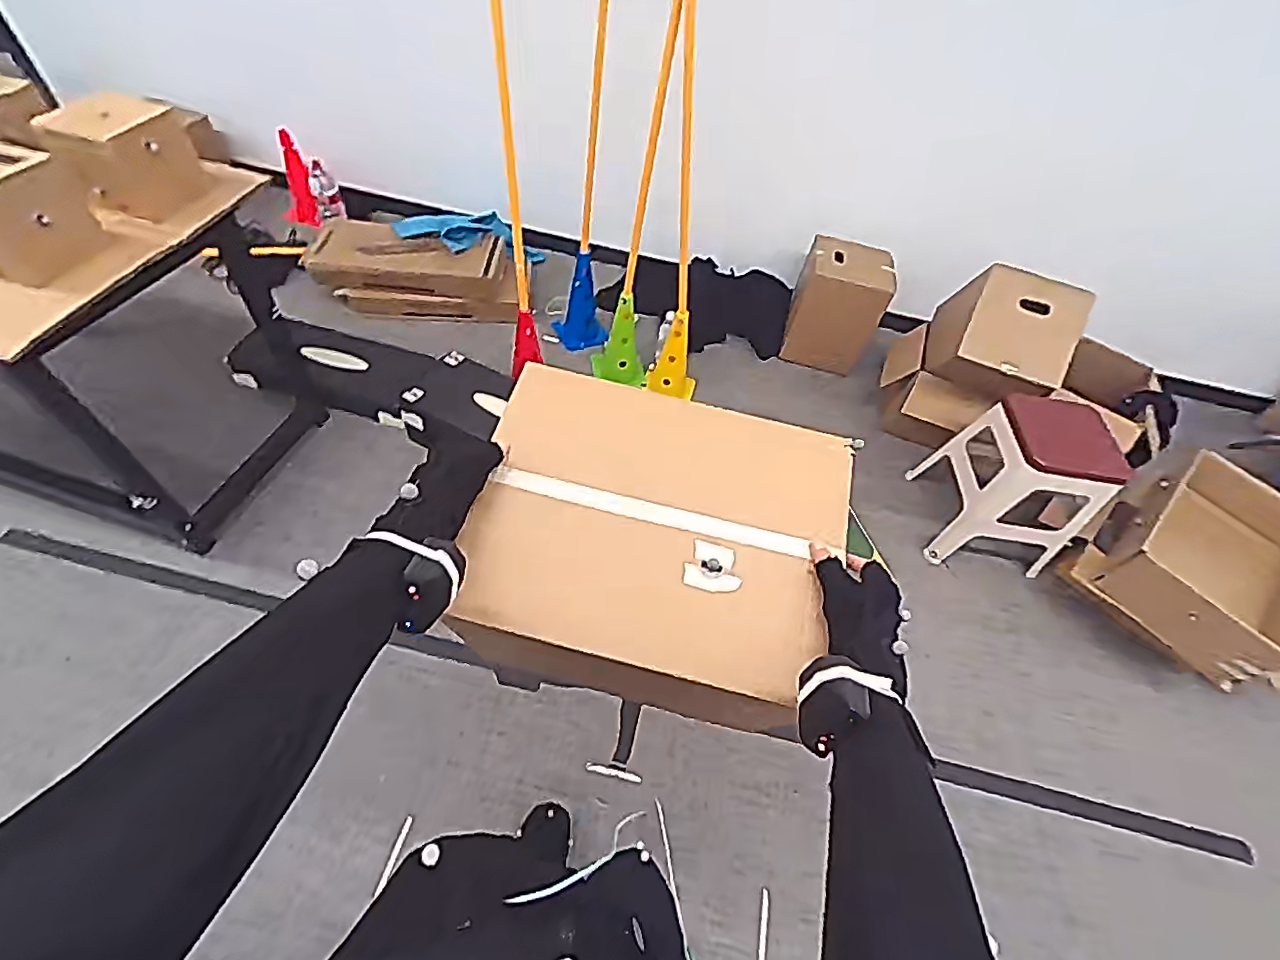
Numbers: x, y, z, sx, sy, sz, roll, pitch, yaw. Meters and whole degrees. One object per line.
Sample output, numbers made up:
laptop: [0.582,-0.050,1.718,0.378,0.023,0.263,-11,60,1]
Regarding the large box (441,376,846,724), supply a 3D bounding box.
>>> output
large box: [0.012,0.111,0.731,0.408,0.320,0.320,15,64,3]
